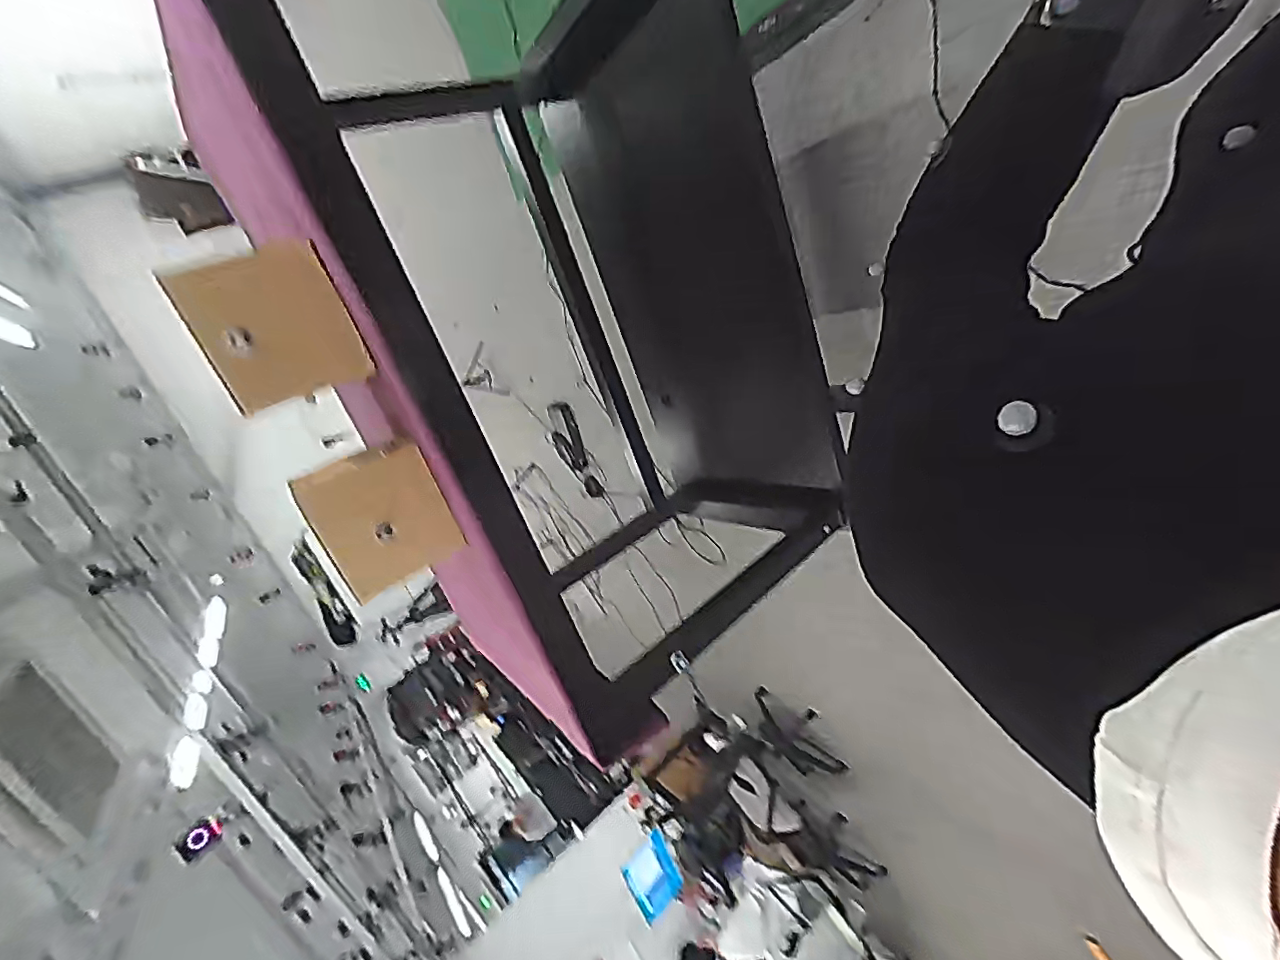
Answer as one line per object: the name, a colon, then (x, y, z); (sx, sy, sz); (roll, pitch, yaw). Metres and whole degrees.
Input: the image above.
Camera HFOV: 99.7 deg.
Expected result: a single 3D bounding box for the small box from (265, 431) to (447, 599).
small box: (-0.423, 0.040, 0.815); (0.168, 0.176, 0.179); (15, 131, 52)
